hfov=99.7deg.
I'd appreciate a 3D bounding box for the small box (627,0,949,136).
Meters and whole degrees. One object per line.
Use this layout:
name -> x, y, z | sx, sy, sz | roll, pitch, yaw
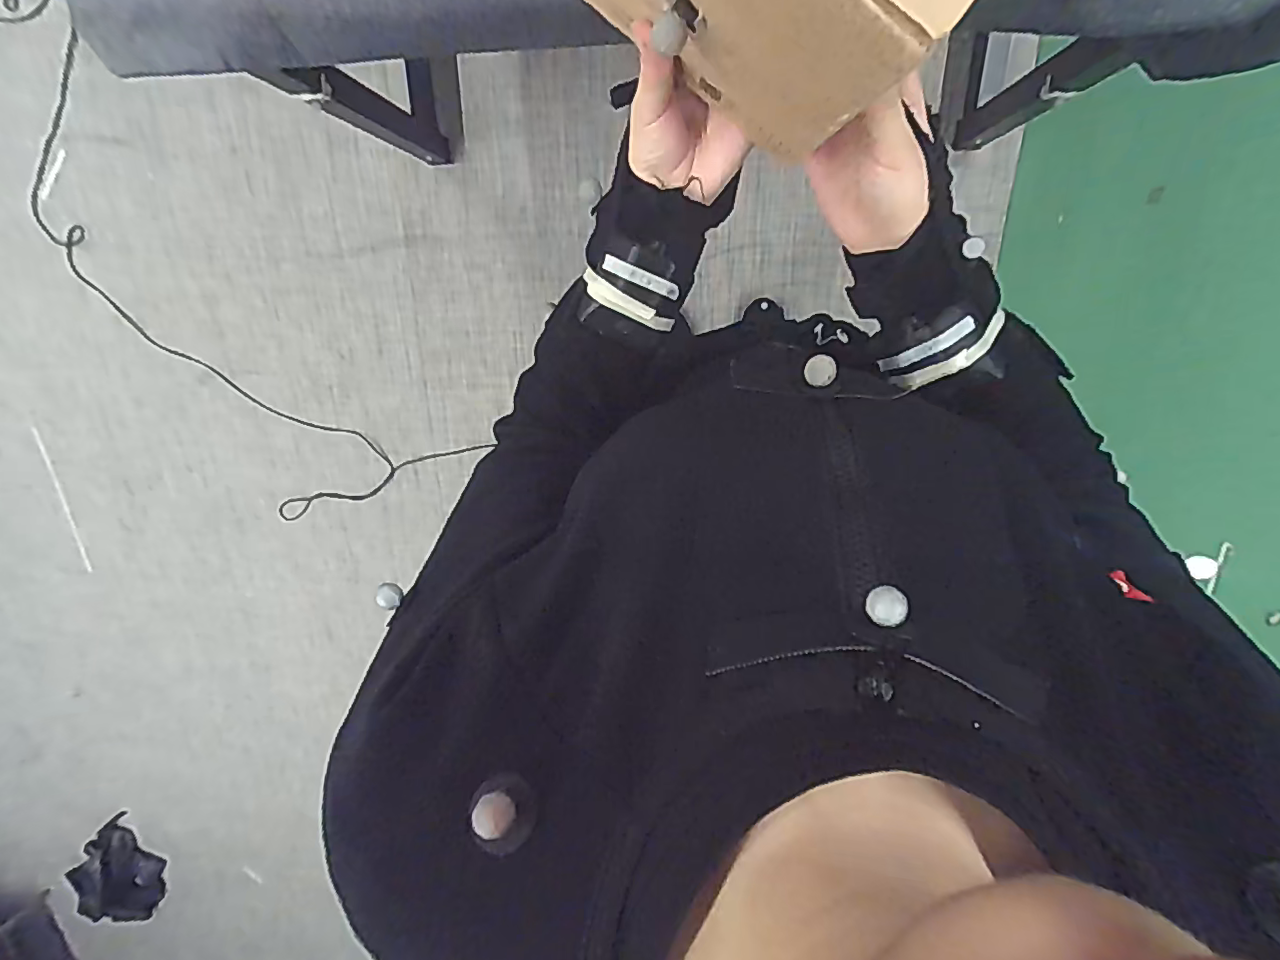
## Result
small box -> 0.066, -0.263, 0.189 | 0.168, 0.176, 0.179 | 32, 109, -10
